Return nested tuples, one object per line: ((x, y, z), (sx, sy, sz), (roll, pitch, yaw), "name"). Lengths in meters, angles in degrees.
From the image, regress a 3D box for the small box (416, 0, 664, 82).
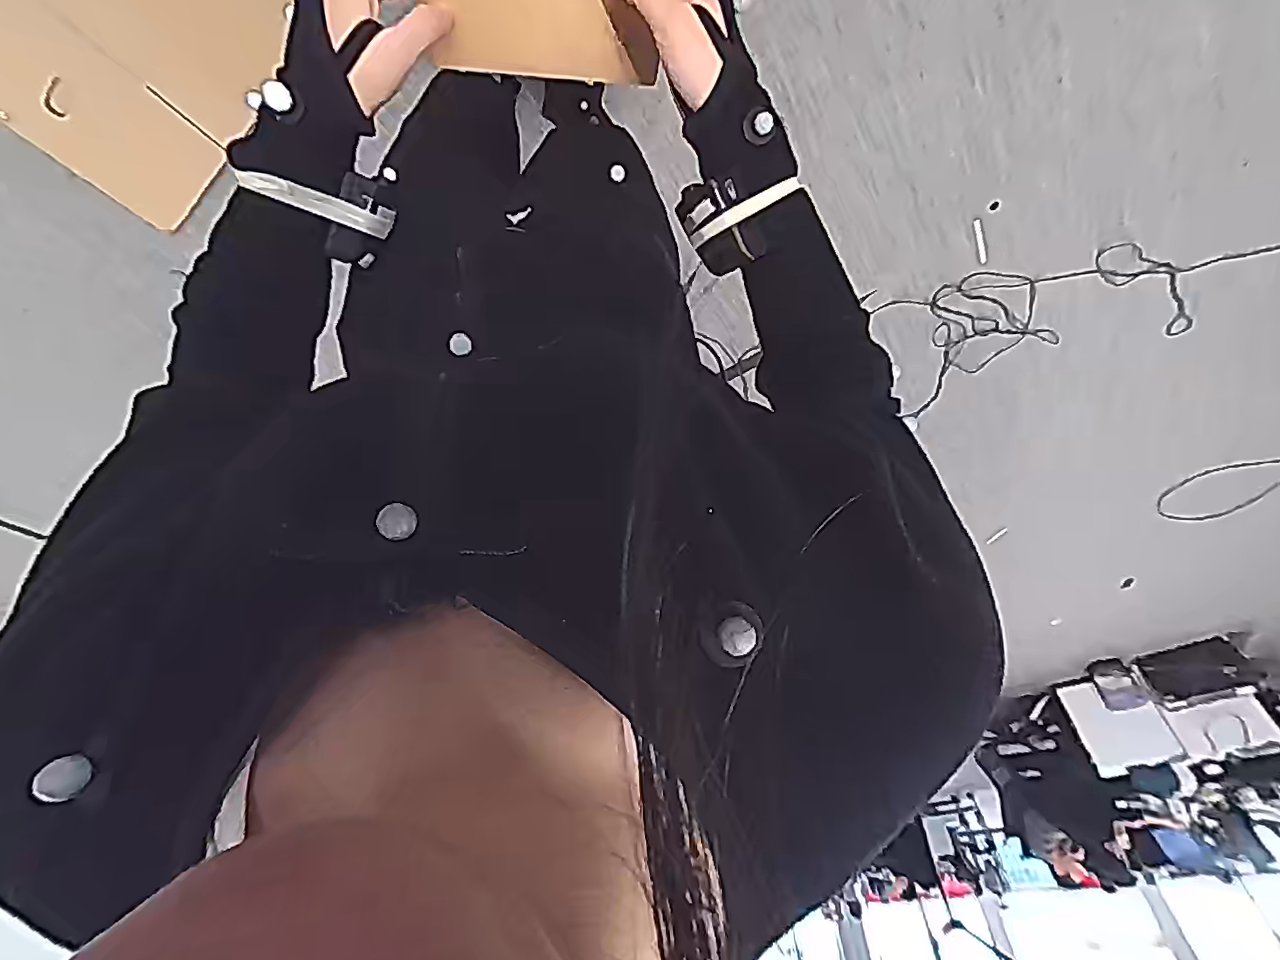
((-0.067, -0.409, 0.353), (0.168, 0.176, 0.179), (-4, 154, -12), "small box")

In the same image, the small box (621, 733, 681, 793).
((0.038, 1.092, 2.088), (0.179, 0.176, 0.168), (-24, 135, 23), "small box")

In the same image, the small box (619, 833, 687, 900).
((0.044, 1.344, 1.876), (0.179, 0.176, 0.168), (-25, 135, 23), "small box")
